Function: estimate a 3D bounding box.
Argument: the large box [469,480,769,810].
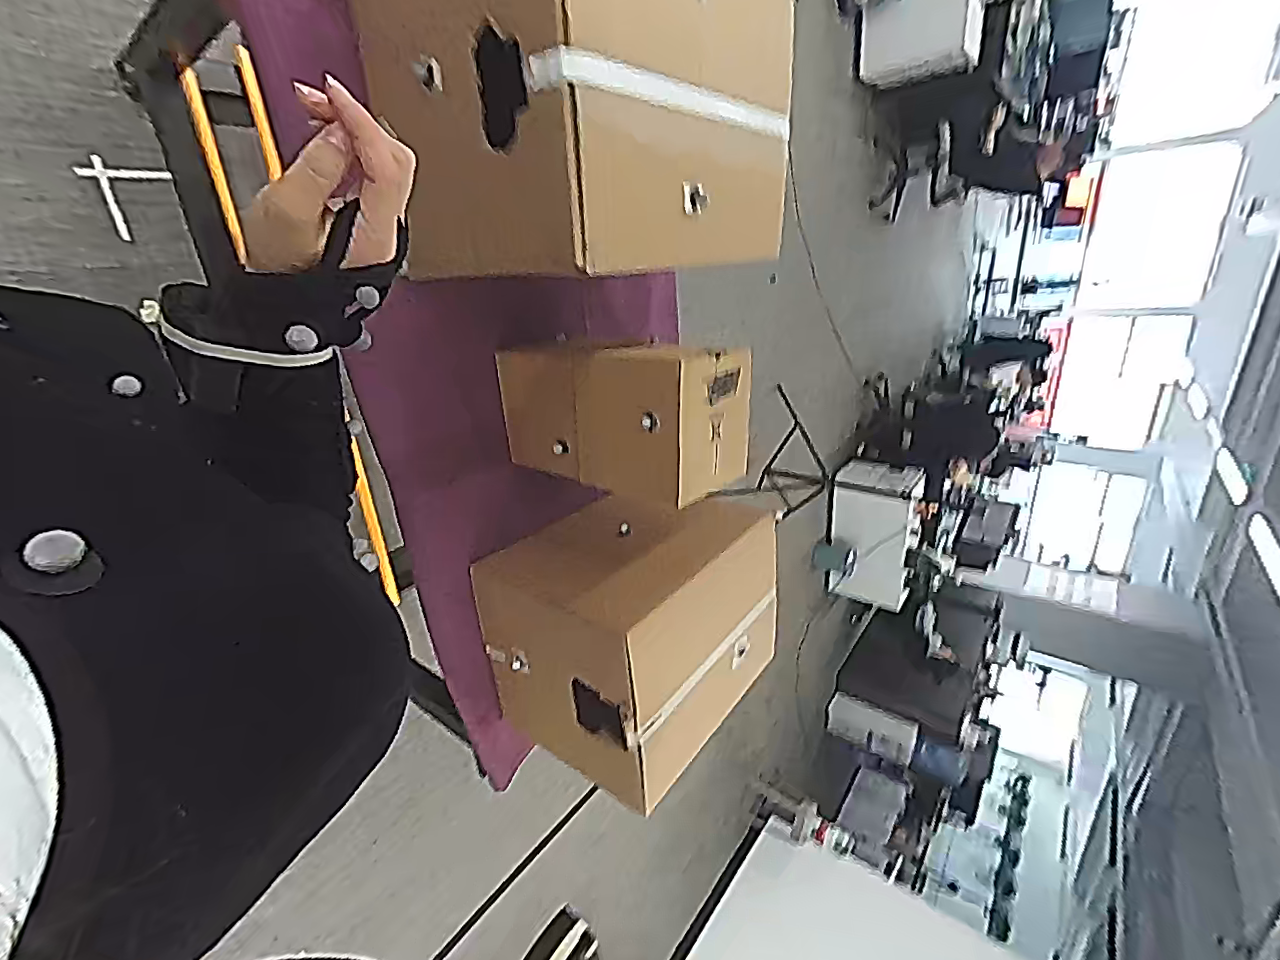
[{"bbox_3d":[-0.012,0.227,0.917,0.408,0.320,0.320,-29,123,-47],"label":"large box"}]
